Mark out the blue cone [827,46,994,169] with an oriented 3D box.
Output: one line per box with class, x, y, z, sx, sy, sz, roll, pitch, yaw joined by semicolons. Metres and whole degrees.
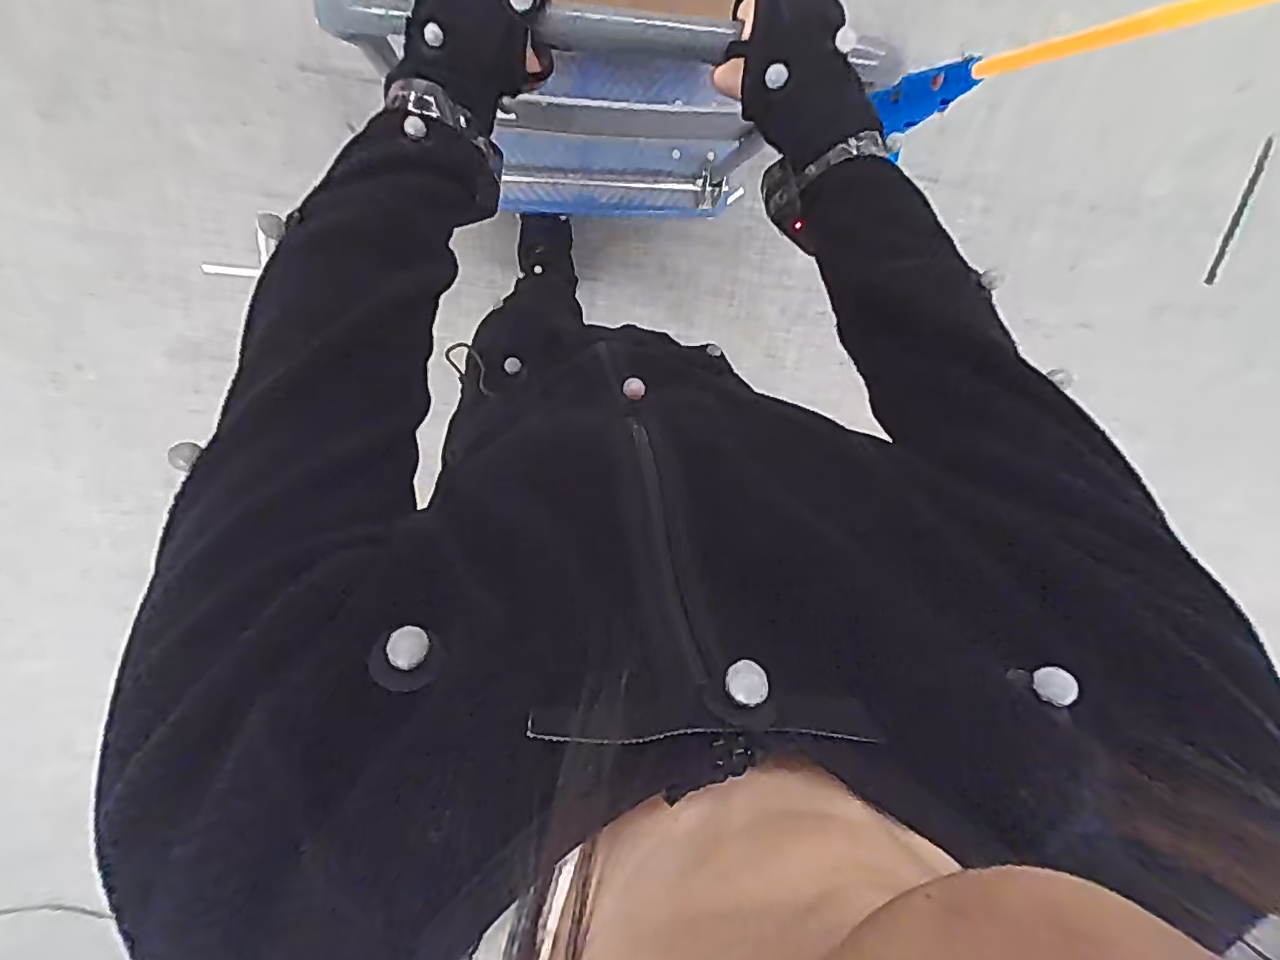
blue cone;0.552;-0.769;1.089;0.193;0.380;0.192;0;110;-10
